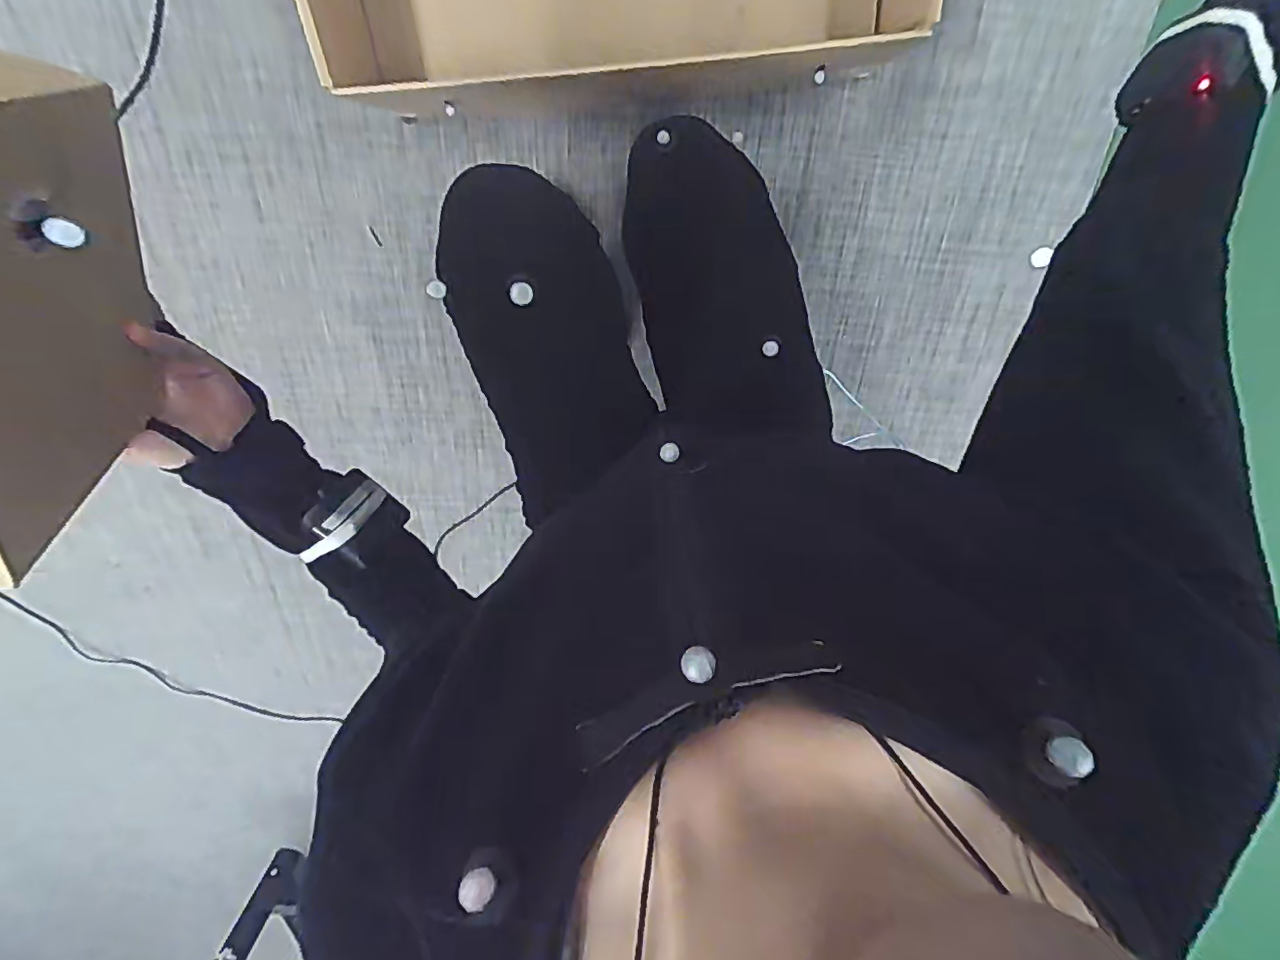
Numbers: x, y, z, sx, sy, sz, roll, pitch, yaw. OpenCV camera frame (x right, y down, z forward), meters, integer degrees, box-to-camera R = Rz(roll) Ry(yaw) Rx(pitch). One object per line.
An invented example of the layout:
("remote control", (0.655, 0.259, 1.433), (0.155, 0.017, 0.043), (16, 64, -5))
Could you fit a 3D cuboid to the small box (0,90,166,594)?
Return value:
("small box", (-0.337, -0.075, 0.222), (0.168, 0.176, 0.179), (7, 125, -23))
